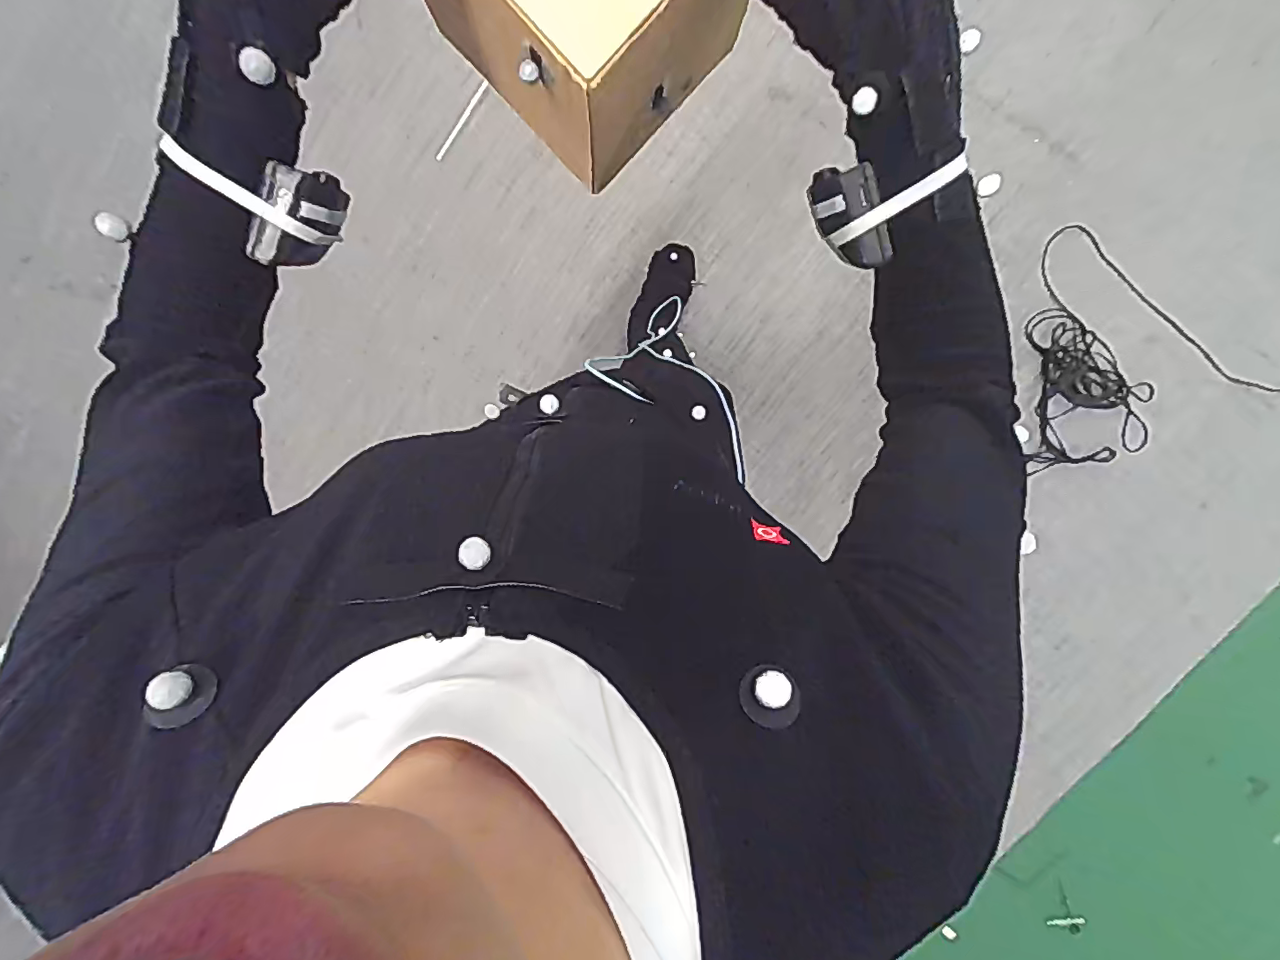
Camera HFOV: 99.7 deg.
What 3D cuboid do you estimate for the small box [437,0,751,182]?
[{"bbox_3d":[-0.034,-0.346,0.361,0.168,0.176,0.179,-44,102,3],"label":"small box"}]
